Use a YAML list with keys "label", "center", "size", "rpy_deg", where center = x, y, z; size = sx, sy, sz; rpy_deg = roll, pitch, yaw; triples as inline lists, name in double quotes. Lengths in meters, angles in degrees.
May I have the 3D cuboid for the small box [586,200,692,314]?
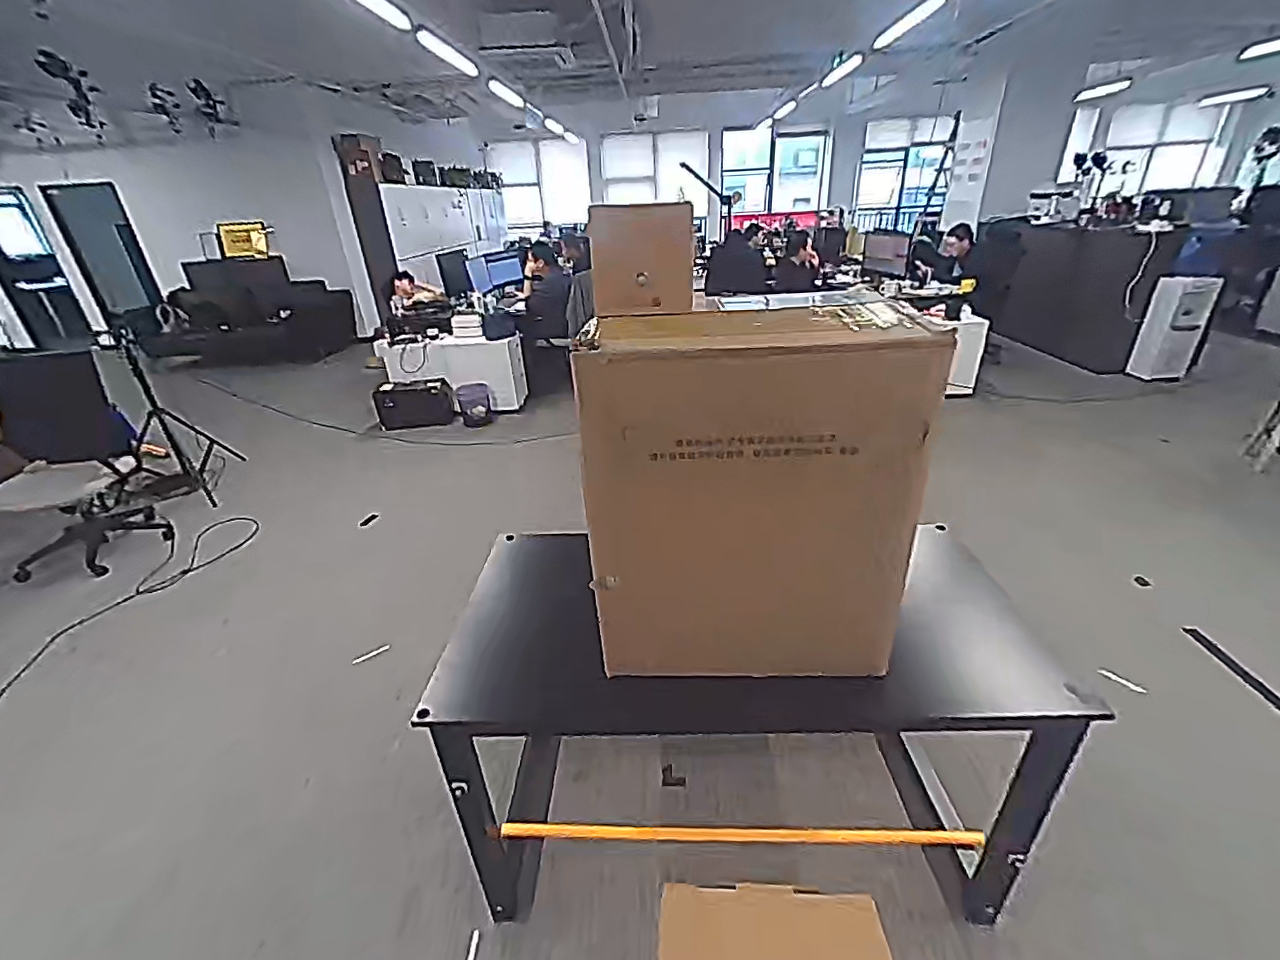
- label: "small box"
  center: [0.001, -0.387, 0.939]
  size: [0.168, 0.176, 0.179]
  rpy_deg: [-2, 25, 1]
